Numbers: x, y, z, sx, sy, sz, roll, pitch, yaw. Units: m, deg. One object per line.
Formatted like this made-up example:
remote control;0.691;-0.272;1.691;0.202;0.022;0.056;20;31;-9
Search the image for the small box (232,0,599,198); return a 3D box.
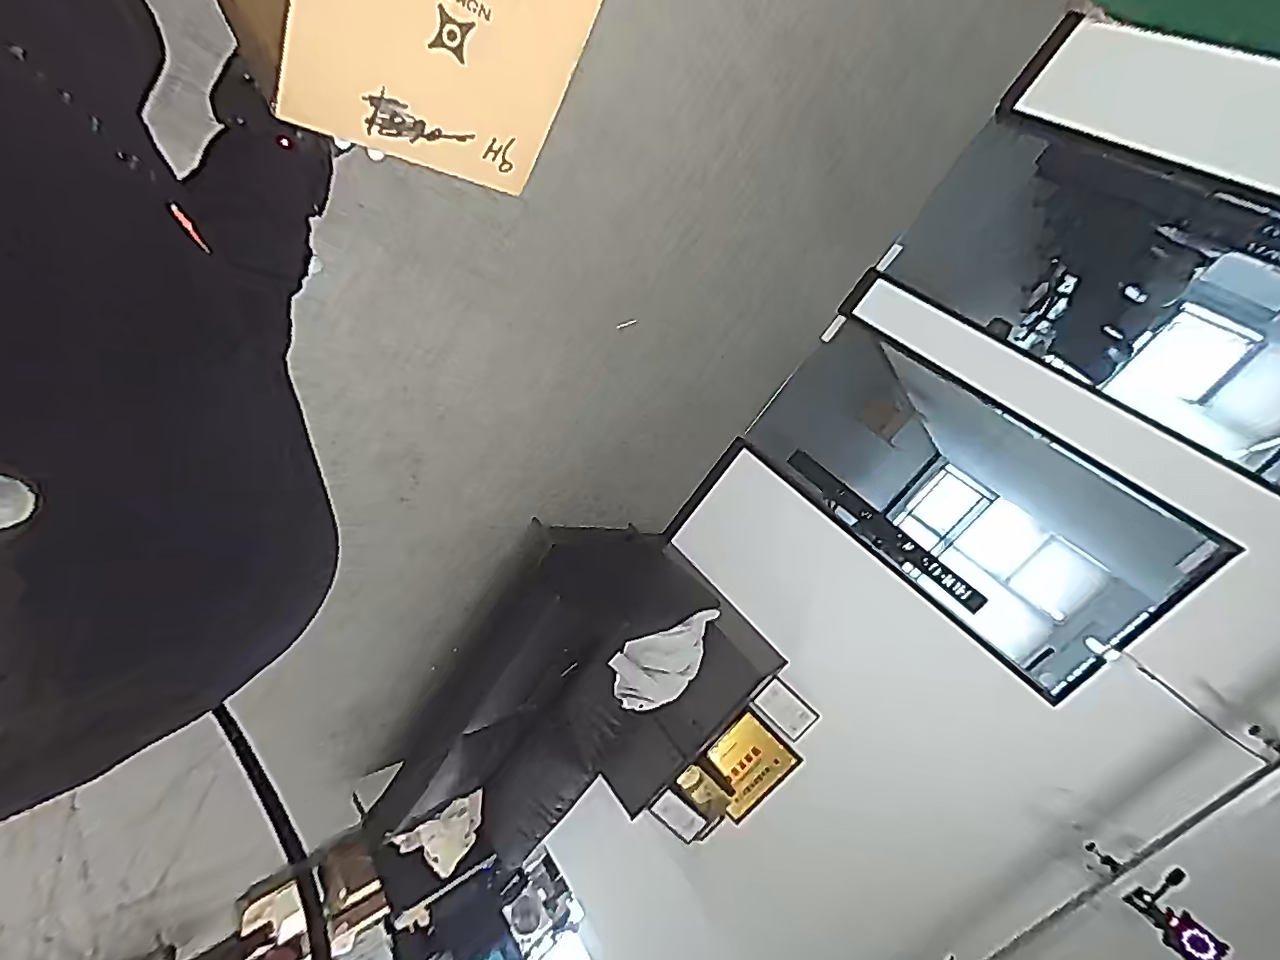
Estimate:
small box;-0.152;-0.332;0.354;0.168;0.176;0.179;-8;146;-46
